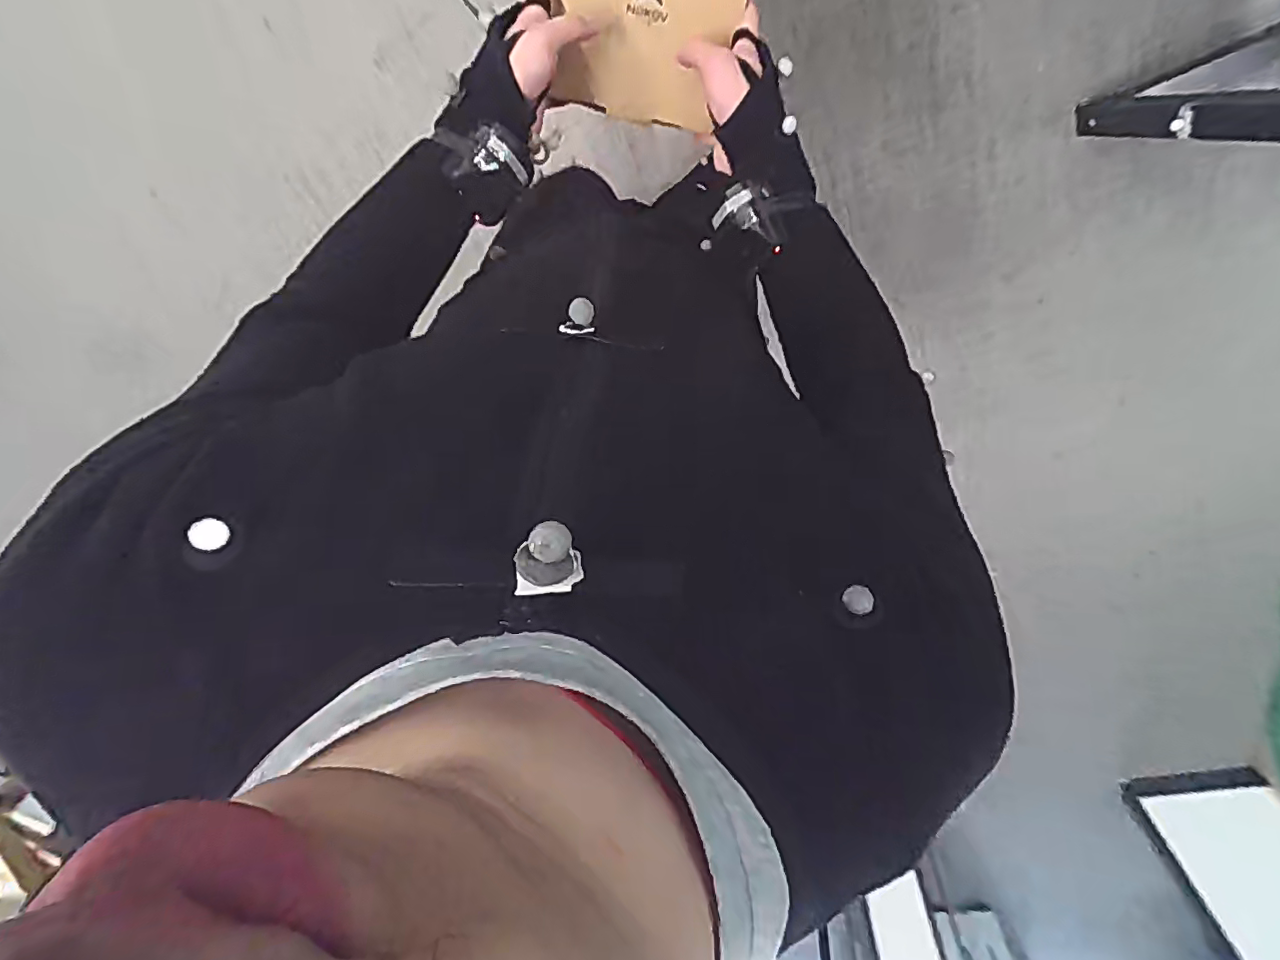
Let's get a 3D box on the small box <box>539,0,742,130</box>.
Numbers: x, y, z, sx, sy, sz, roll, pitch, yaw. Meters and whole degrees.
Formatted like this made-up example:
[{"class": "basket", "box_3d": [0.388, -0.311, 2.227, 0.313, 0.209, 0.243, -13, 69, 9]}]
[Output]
[{"class": "small box", "box_3d": [0.005, -0.460, 0.497, 0.168, 0.176, 0.179, 7, 136, -8]}]
